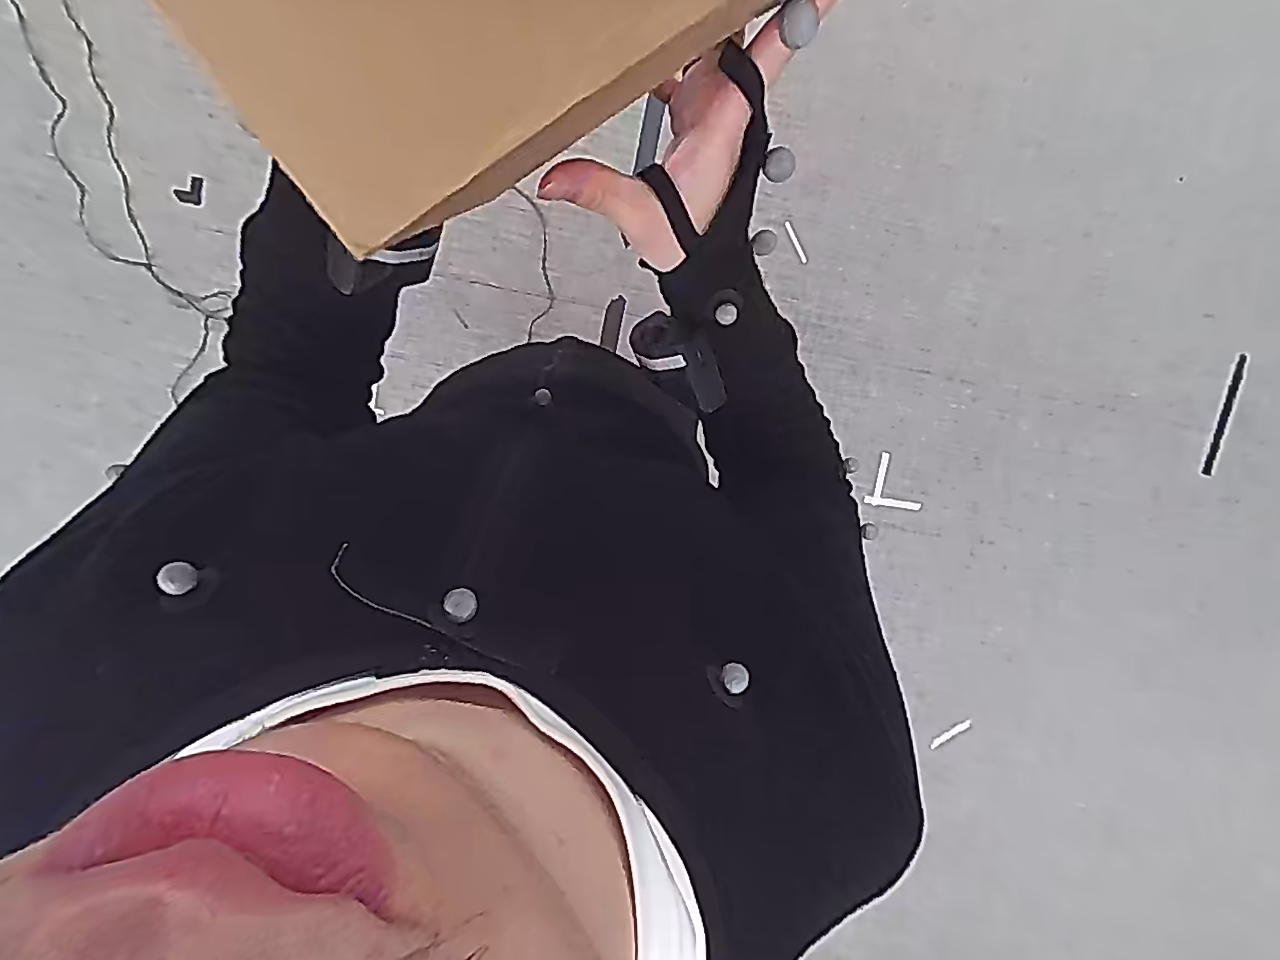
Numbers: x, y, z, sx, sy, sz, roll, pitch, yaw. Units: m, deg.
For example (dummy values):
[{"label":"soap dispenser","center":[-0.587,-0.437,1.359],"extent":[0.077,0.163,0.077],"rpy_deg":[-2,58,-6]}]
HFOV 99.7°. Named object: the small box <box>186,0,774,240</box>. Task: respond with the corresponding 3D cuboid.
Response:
[{"label":"small box","center":[-0.037,-0.198,0.148],"extent":[0.179,0.176,0.168],"rpy_deg":[-28,118,13]}]
